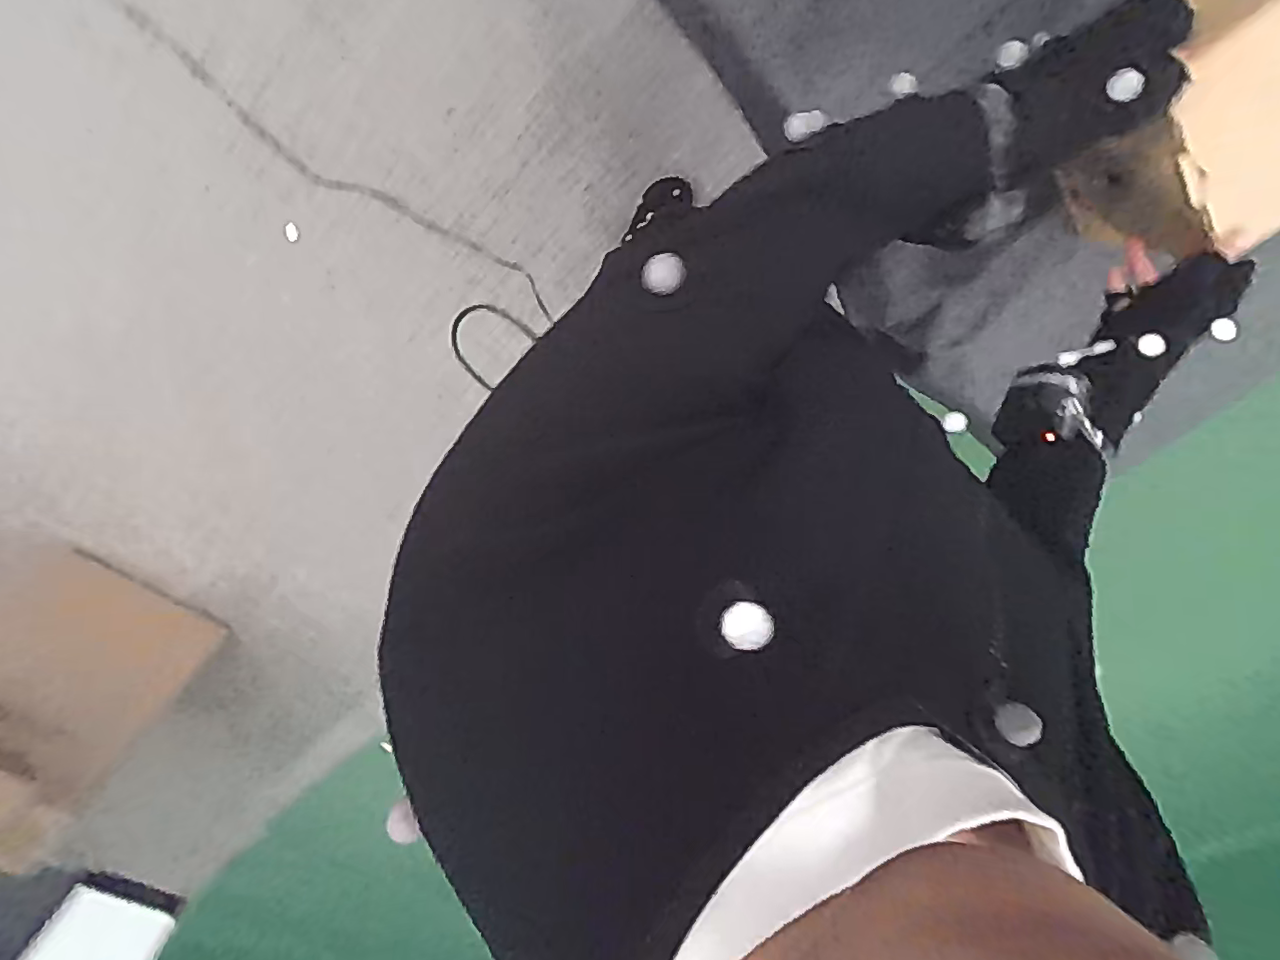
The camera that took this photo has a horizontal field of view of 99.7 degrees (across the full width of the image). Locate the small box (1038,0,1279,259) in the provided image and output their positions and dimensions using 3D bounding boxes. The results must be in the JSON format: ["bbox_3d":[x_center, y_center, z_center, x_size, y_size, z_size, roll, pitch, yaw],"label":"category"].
[{"bbox_3d":[0.489,-0.323,0.464,0.179,0.176,0.168,-37,113,19],"label":"small box"}]
